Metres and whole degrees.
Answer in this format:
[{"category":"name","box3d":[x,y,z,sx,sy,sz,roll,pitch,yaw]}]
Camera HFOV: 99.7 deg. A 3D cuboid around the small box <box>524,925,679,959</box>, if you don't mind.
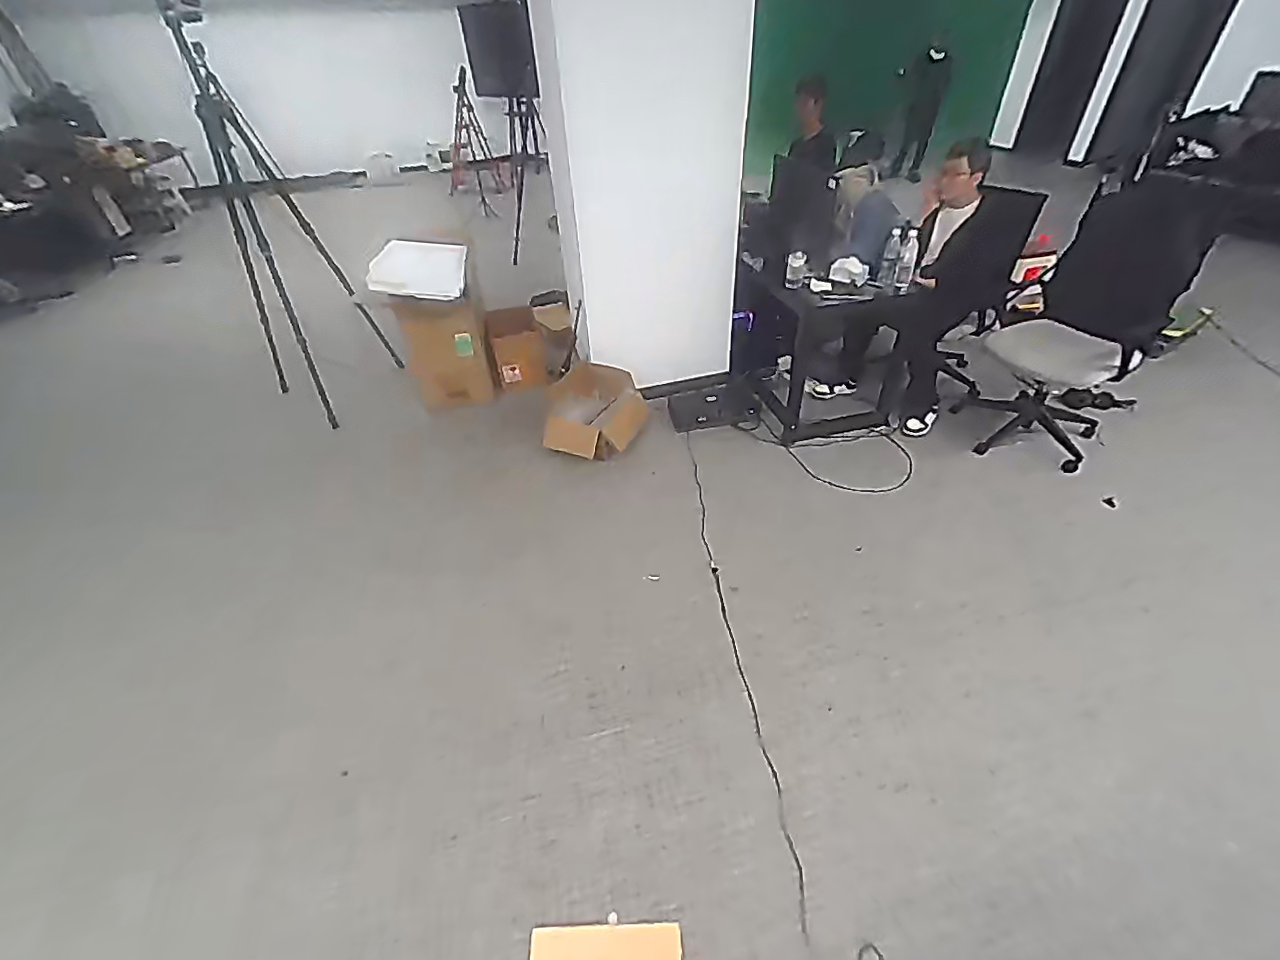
[{"category":"small box","box3d":[-0.044,0.633,0.618,0.179,0.176,0.168,1,41,-4]}]
